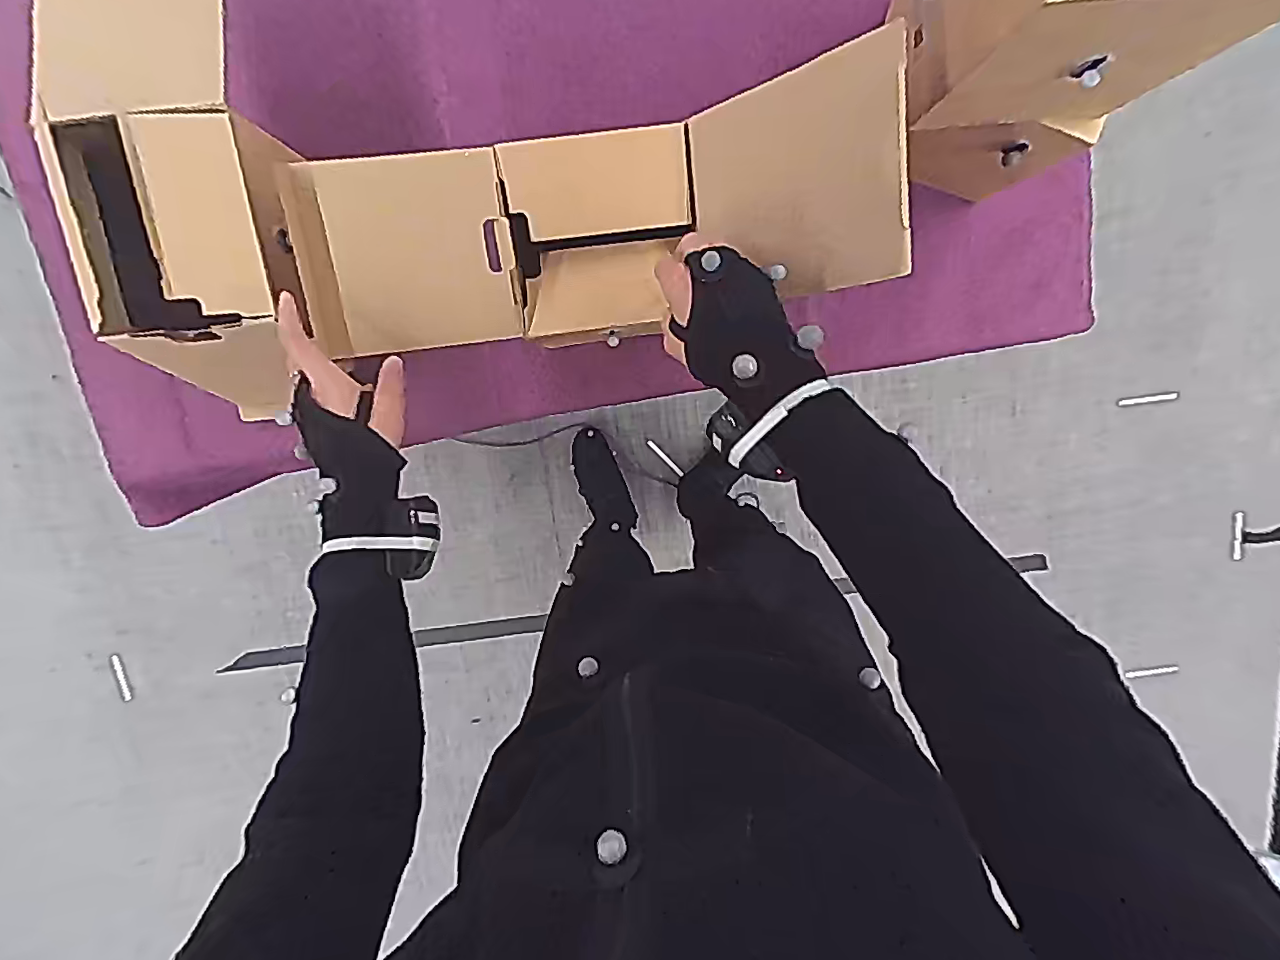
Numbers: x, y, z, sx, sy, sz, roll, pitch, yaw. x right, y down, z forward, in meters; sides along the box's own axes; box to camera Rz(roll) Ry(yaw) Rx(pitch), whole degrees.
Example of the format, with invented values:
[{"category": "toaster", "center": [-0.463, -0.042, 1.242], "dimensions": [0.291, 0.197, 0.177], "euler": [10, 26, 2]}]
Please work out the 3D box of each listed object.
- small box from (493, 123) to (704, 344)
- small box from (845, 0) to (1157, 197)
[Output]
[{"category": "small box", "center": [-0.035, -0.235, 0.559], "dimensions": [0.179, 0.176, 0.168], "euler": [-6, 102, 0]}, {"category": "small box", "center": [0.336, -0.404, 0.530], "dimensions": [0.179, 0.176, 0.168], "euler": [17, 100, -4]}]
